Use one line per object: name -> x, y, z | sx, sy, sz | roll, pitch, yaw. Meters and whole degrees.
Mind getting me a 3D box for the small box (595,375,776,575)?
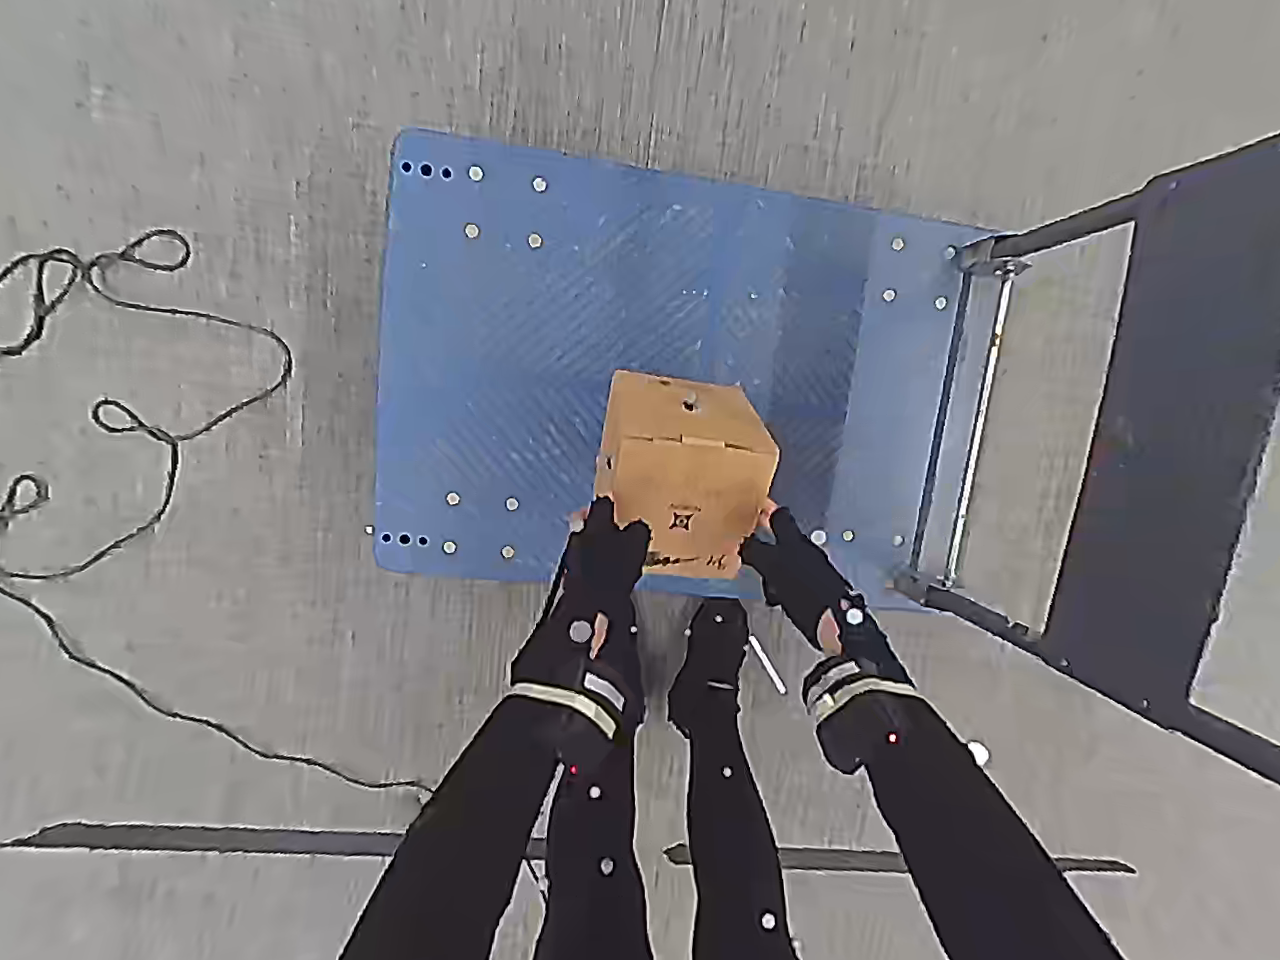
small box -> 0.039, -0.011, 0.648 | 0.168, 0.176, 0.179 | 7, 120, -9
